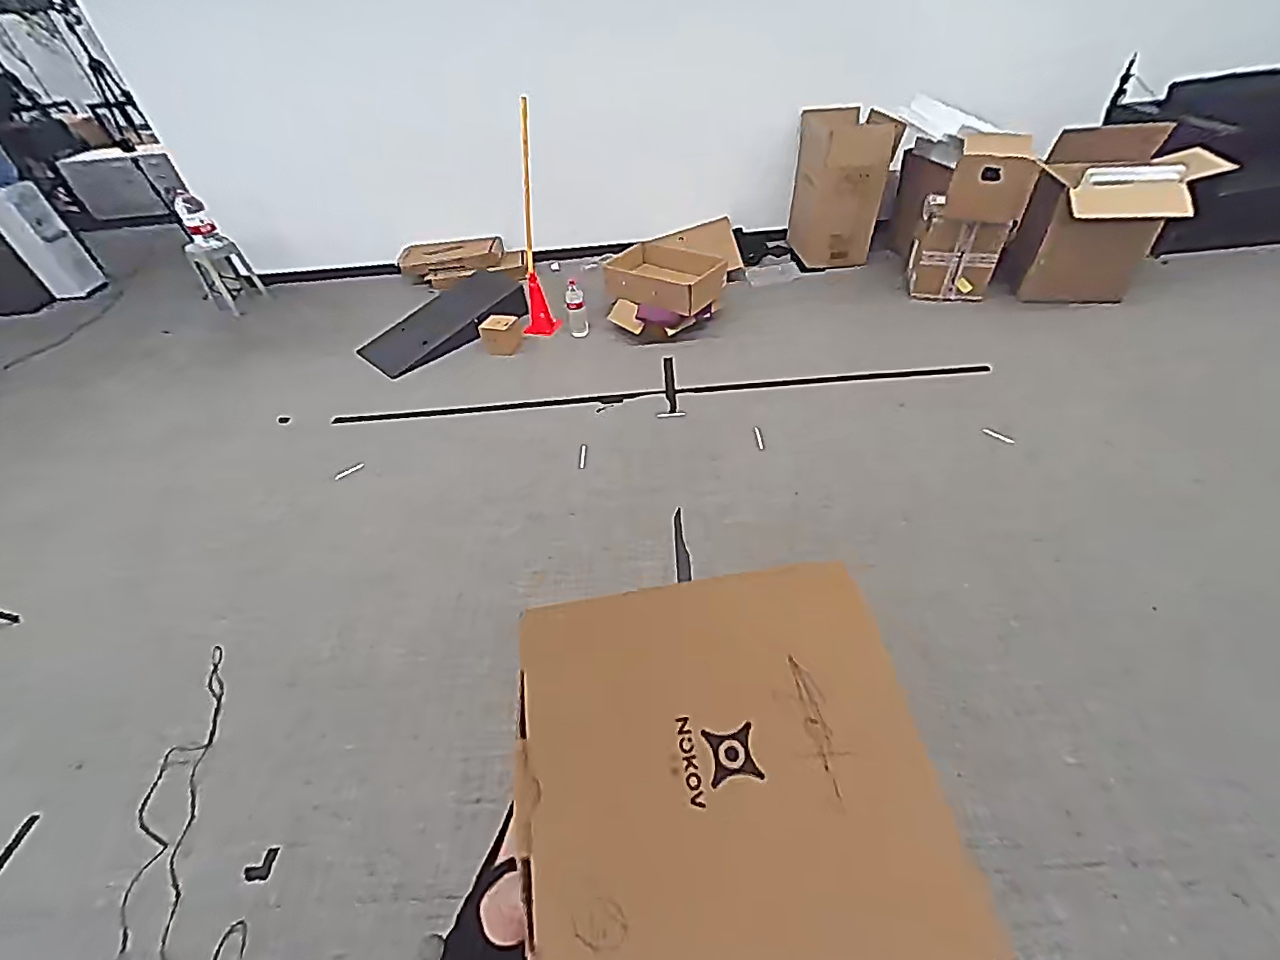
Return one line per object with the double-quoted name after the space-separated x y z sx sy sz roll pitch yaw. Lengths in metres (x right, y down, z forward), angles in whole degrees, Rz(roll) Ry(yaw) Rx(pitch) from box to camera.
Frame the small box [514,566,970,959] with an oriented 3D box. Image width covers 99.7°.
0.034 0.172 0.314 0.179 0.176 0.168 -9 56 -6 "small box"
